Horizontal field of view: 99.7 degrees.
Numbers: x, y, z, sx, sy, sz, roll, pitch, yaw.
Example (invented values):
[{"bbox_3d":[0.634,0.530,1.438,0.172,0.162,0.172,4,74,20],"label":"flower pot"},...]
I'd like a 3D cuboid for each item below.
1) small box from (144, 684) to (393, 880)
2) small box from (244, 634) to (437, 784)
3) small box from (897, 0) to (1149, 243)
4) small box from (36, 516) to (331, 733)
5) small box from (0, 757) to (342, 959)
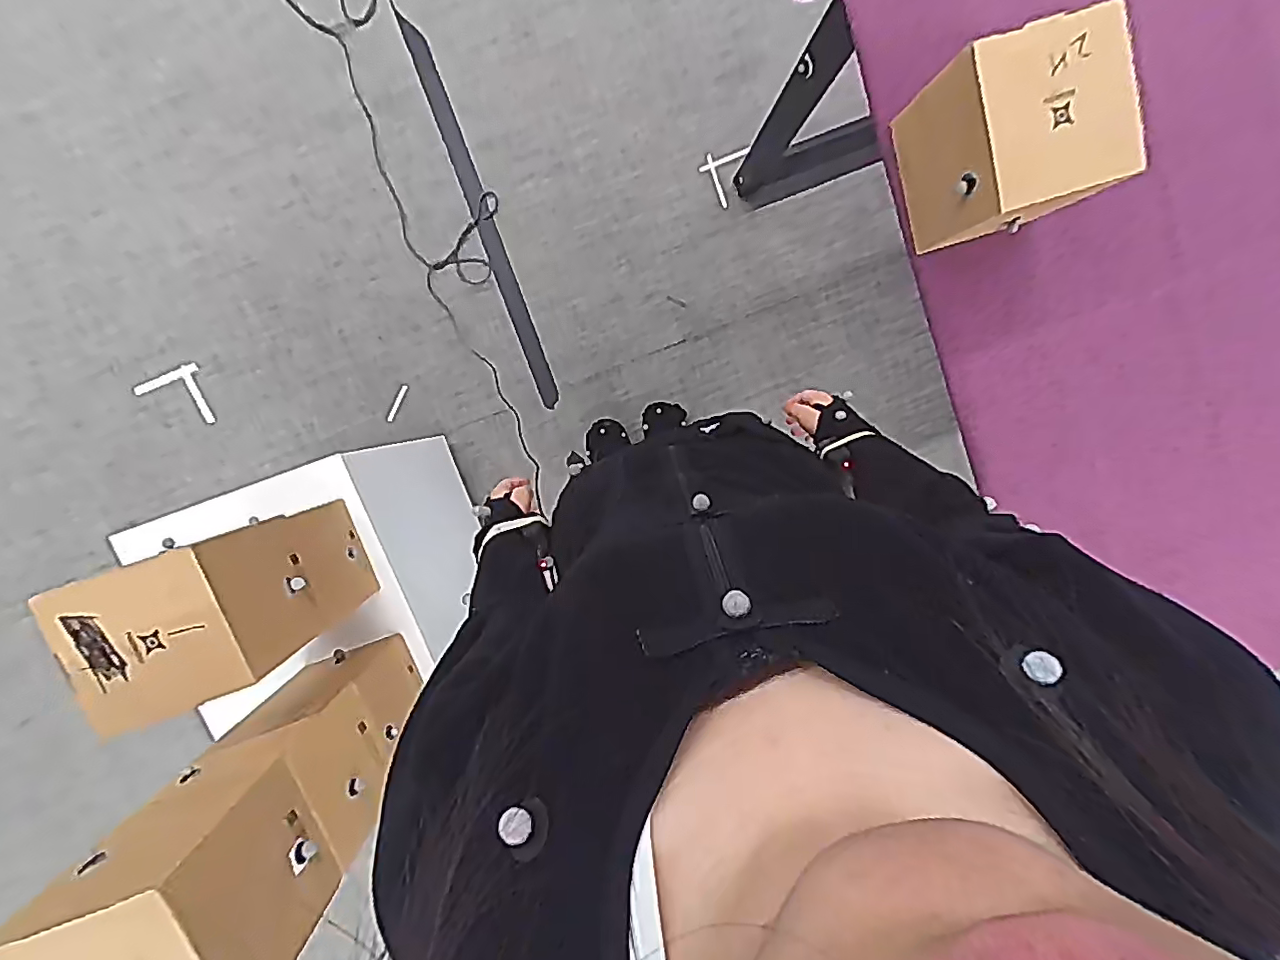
[{"bbox_3d":[-0.440,0.390,0.681,0.179,0.176,0.168,-21,98,1],"label":"small box"},{"bbox_3d":[-0.449,0.369,0.841,0.179,0.176,0.168,-19,99,1],"label":"small box"},{"bbox_3d":[0.437,-0.400,0.642,0.168,0.176,0.179,-17,98,-1],"label":"small box"},{"bbox_3d":[-0.516,0.157,0.642,0.179,0.176,0.168,-18,99,-1],"label":"small box"},{"bbox_3d":[-0.434,0.411,0.520,0.179,0.176,0.168,-22,99,0],"label":"small box"}]
